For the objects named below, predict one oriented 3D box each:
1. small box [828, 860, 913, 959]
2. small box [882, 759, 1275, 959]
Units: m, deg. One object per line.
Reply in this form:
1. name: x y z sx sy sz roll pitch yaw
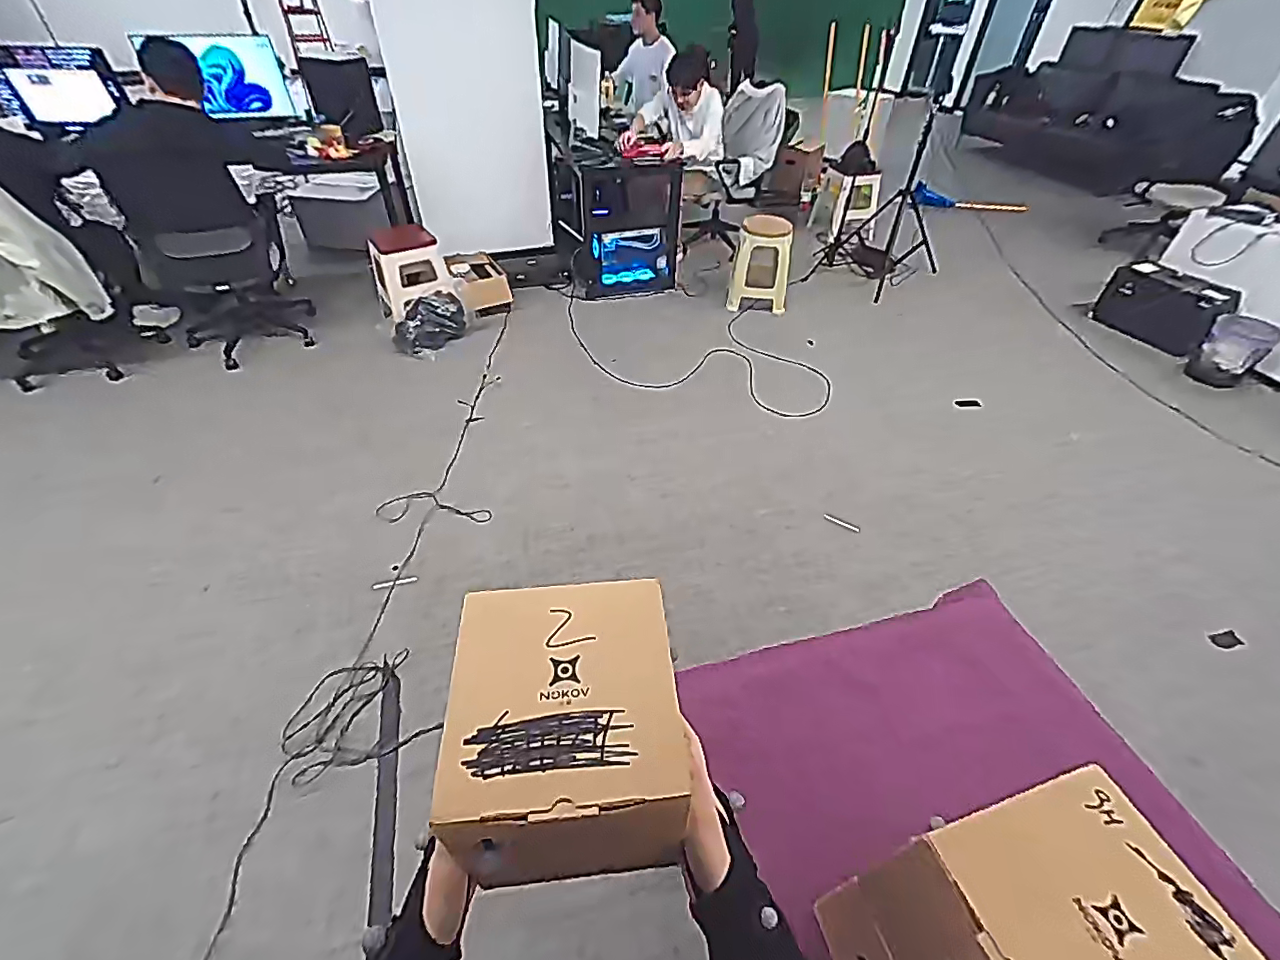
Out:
1. small box: 0.310 0.480 0.539 0.179 0.176 0.168 -9 45 -12
2. small box: 0.321 0.359 0.429 0.179 0.176 0.168 -11 46 -14
